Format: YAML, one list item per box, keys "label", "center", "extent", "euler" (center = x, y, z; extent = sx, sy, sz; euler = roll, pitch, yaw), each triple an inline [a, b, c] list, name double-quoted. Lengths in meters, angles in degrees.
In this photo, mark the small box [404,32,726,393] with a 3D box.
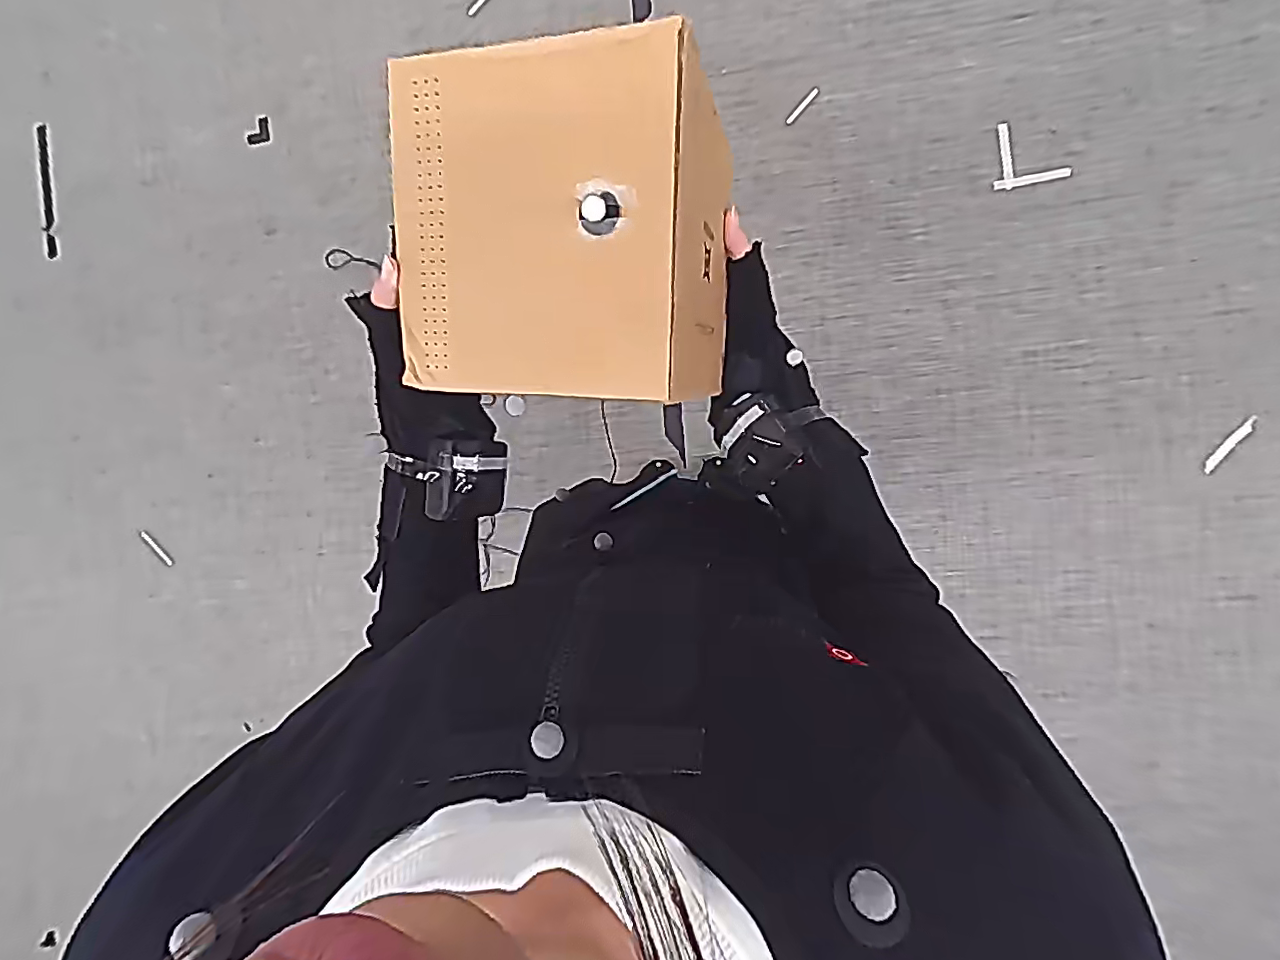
- label: "small box"
  center: [-0.039, -0.150, 0.370]
  extent: [0.176, 0.168, 0.179]
  euler: [5, 101, 17]
